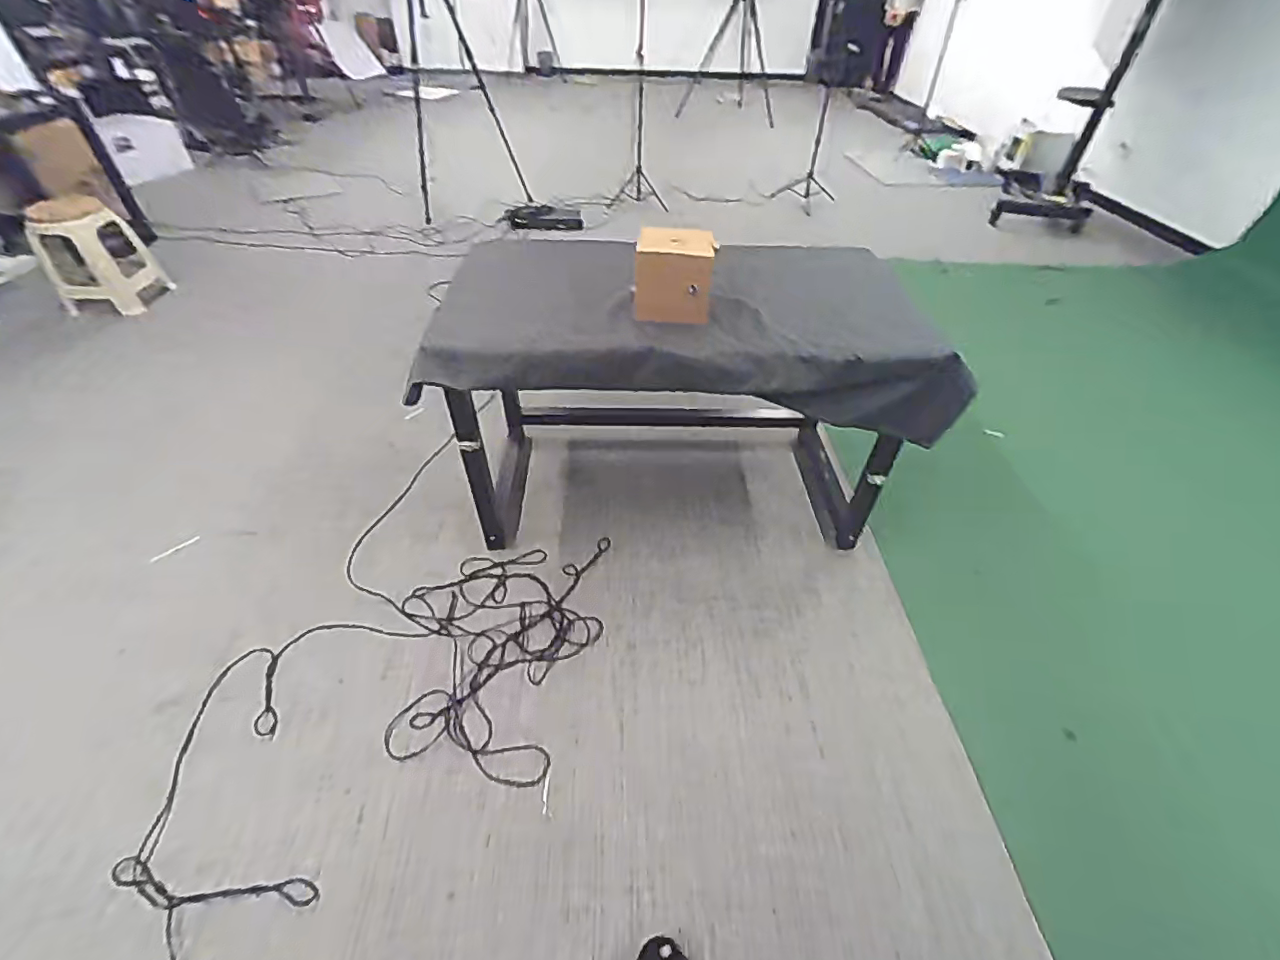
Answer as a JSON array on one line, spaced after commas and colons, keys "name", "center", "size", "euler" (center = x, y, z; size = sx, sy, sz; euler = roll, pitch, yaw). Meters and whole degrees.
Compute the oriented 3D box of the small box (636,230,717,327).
[{"name": "small box", "center": [0.086, -0.479, 1.291], "size": [0.179, 0.176, 0.168], "euler": [5, 42, 4]}]
